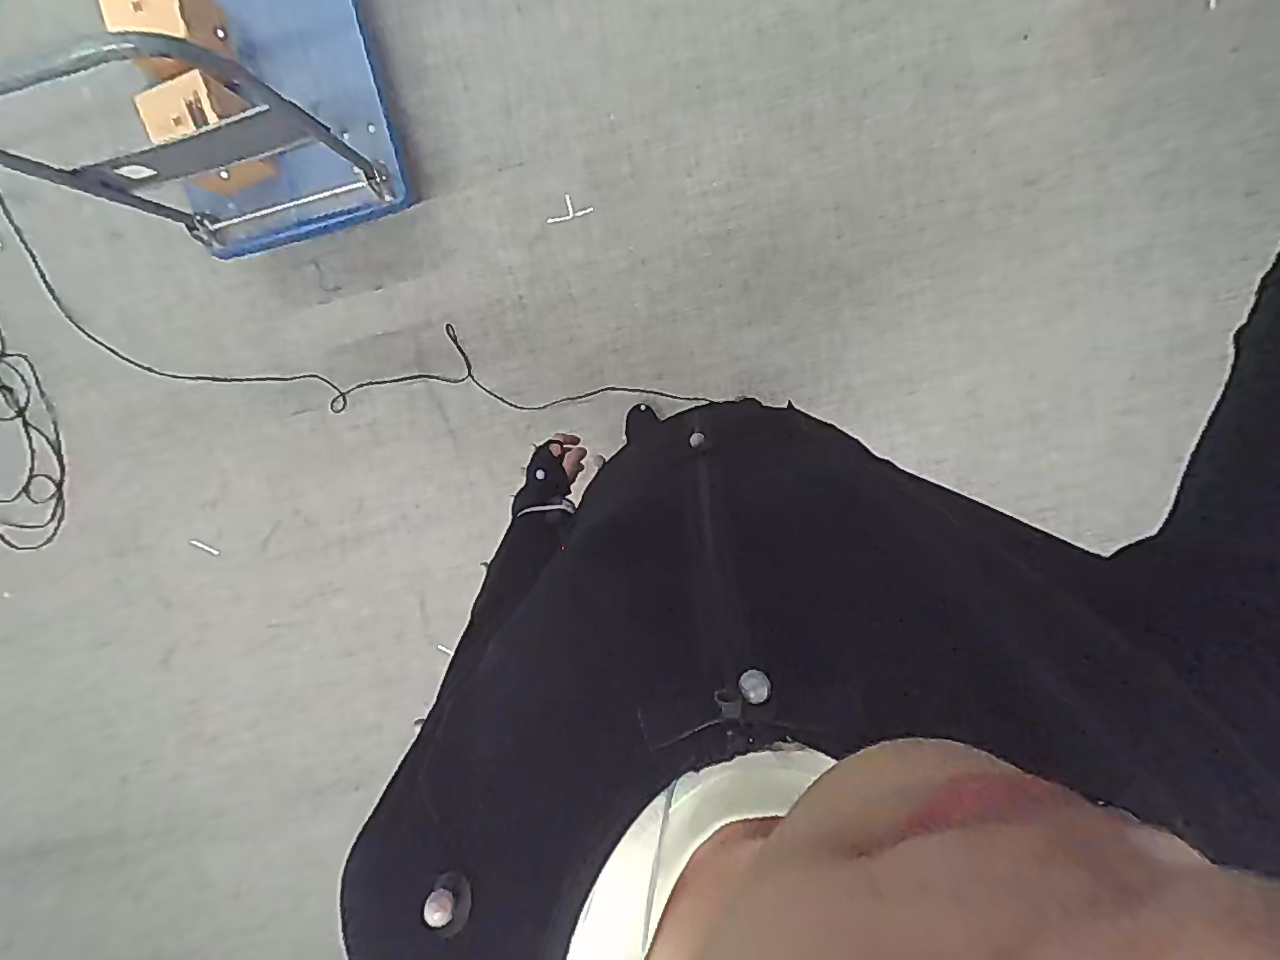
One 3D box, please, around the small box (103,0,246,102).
[{"bbox_3d":[-1.096,-1.041,1.282,0.179,0.176,0.168,-13,97,3],"label":"small box"}]
